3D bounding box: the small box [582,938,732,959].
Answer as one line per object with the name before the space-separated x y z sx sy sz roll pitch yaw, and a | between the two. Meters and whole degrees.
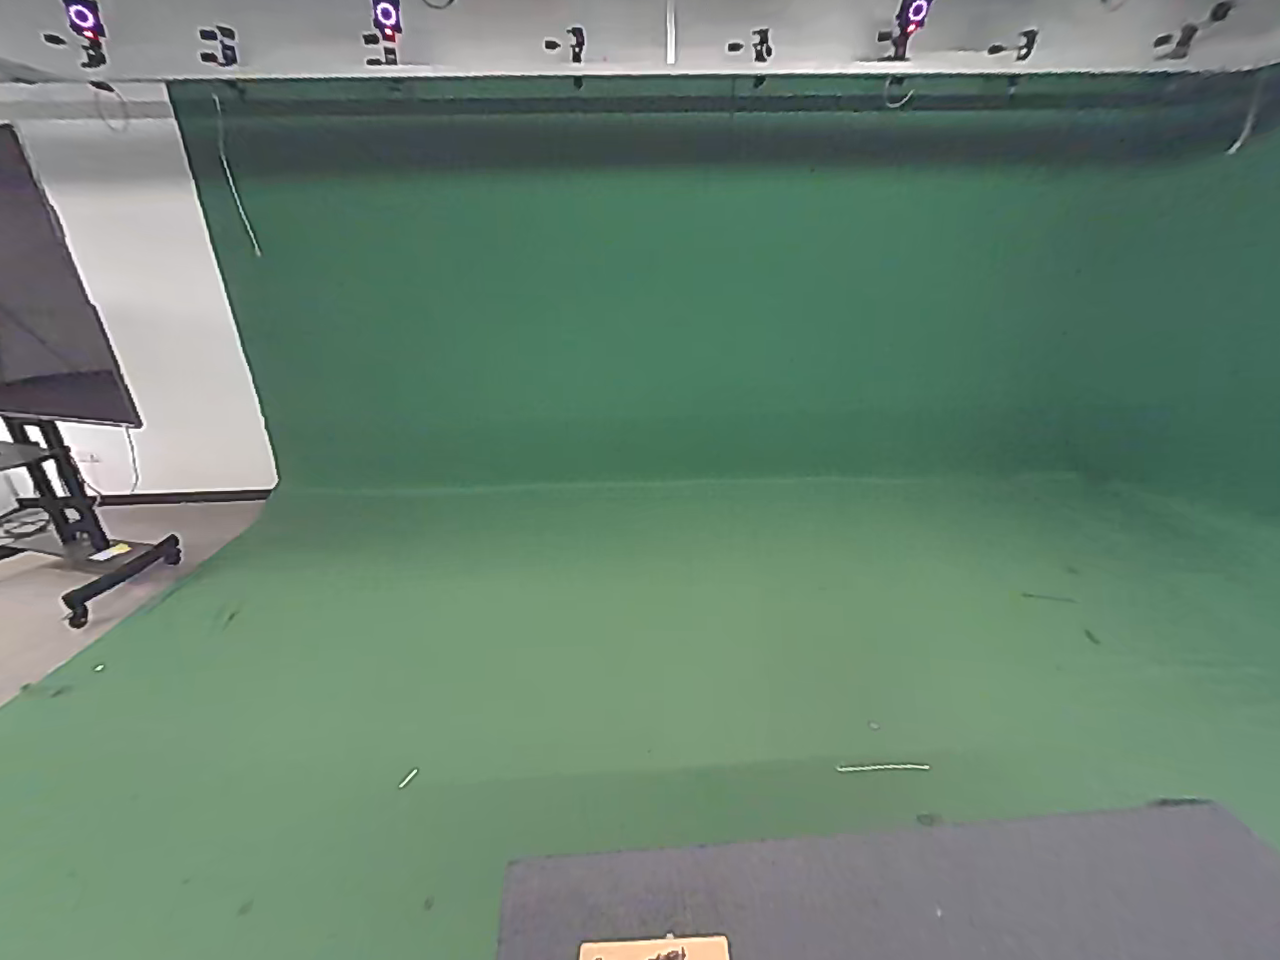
small box | 0.026 0.618 0.555 0.168 0.176 0.179 -5 27 3
